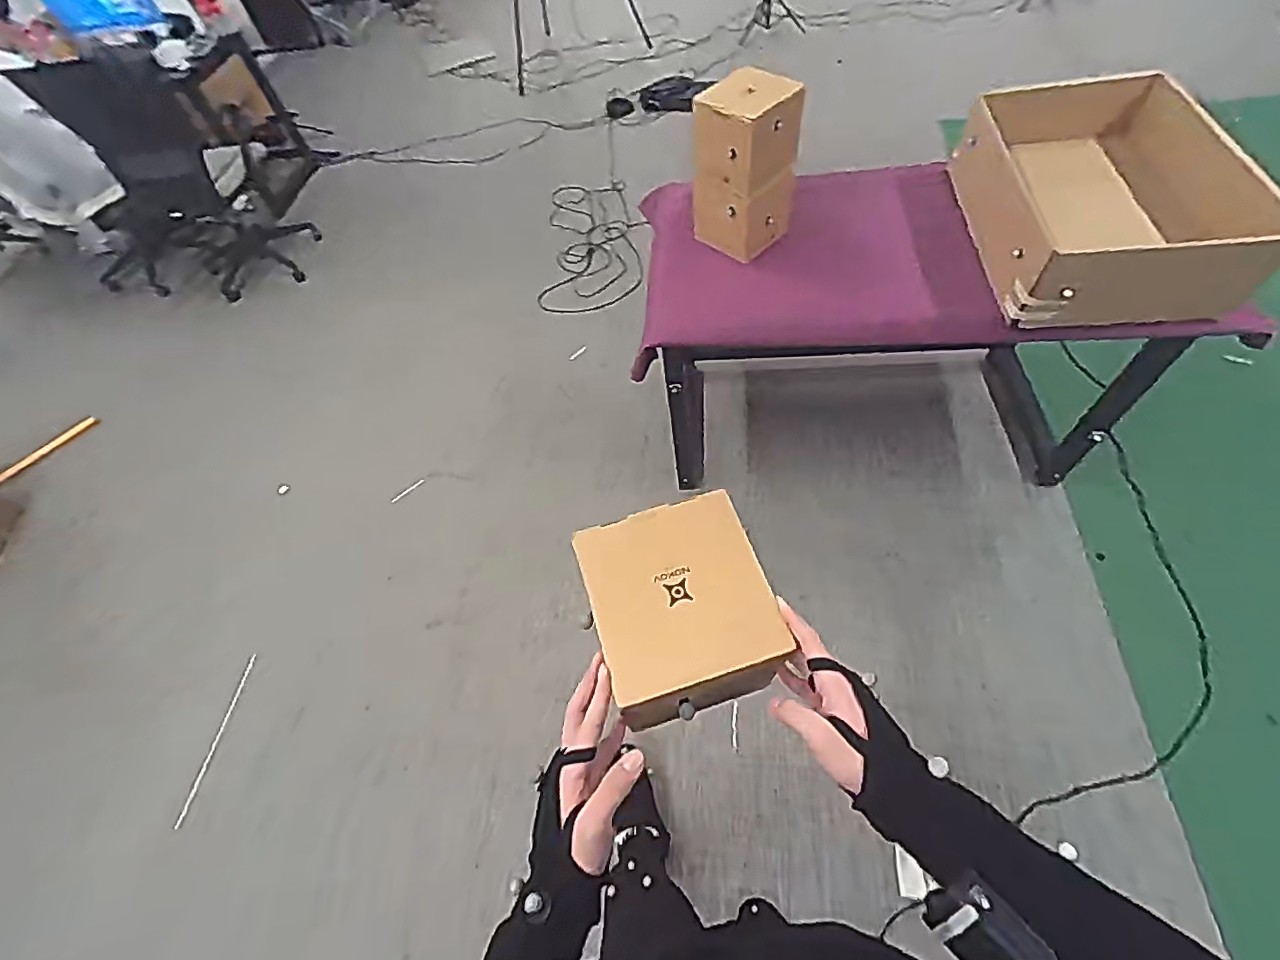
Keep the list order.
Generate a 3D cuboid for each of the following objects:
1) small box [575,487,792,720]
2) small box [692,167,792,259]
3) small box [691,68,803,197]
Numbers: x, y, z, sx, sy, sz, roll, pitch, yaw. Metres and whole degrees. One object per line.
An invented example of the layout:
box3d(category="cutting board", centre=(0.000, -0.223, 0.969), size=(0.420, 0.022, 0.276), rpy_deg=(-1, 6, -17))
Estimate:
box3d(category="small box", centre=(0.041, 0.140, 0.574), size=(0.168, 0.176, 0.179), rpy_deg=(-16, 58, -6))
box3d(category="small box", centre=(0.248, -0.676, 1.335), size=(0.168, 0.176, 0.179), rpy_deg=(-41, 61, -18))
box3d(category="small box", centre=(0.234, -0.766, 1.200), size=(0.179, 0.176, 0.168), rpy_deg=(-41, 63, -17))
